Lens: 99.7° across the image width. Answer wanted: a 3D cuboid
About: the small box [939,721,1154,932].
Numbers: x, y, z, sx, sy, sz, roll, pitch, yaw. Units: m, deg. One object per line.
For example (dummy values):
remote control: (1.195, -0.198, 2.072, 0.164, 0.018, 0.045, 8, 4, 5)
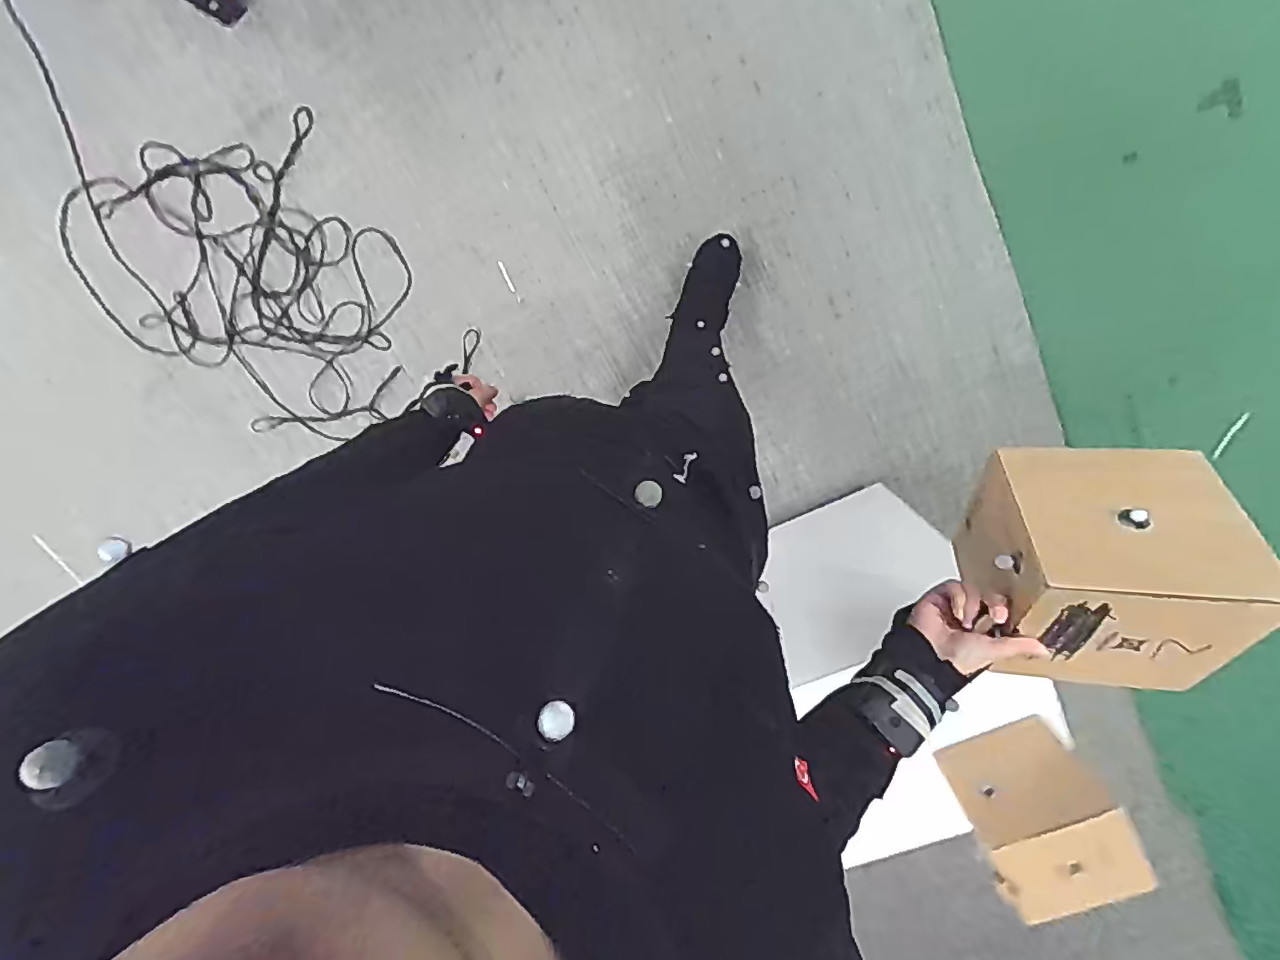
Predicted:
small box: (0.571, 0.495, 0.789, 0.179, 0.176, 0.168, -29, 105, 11)
